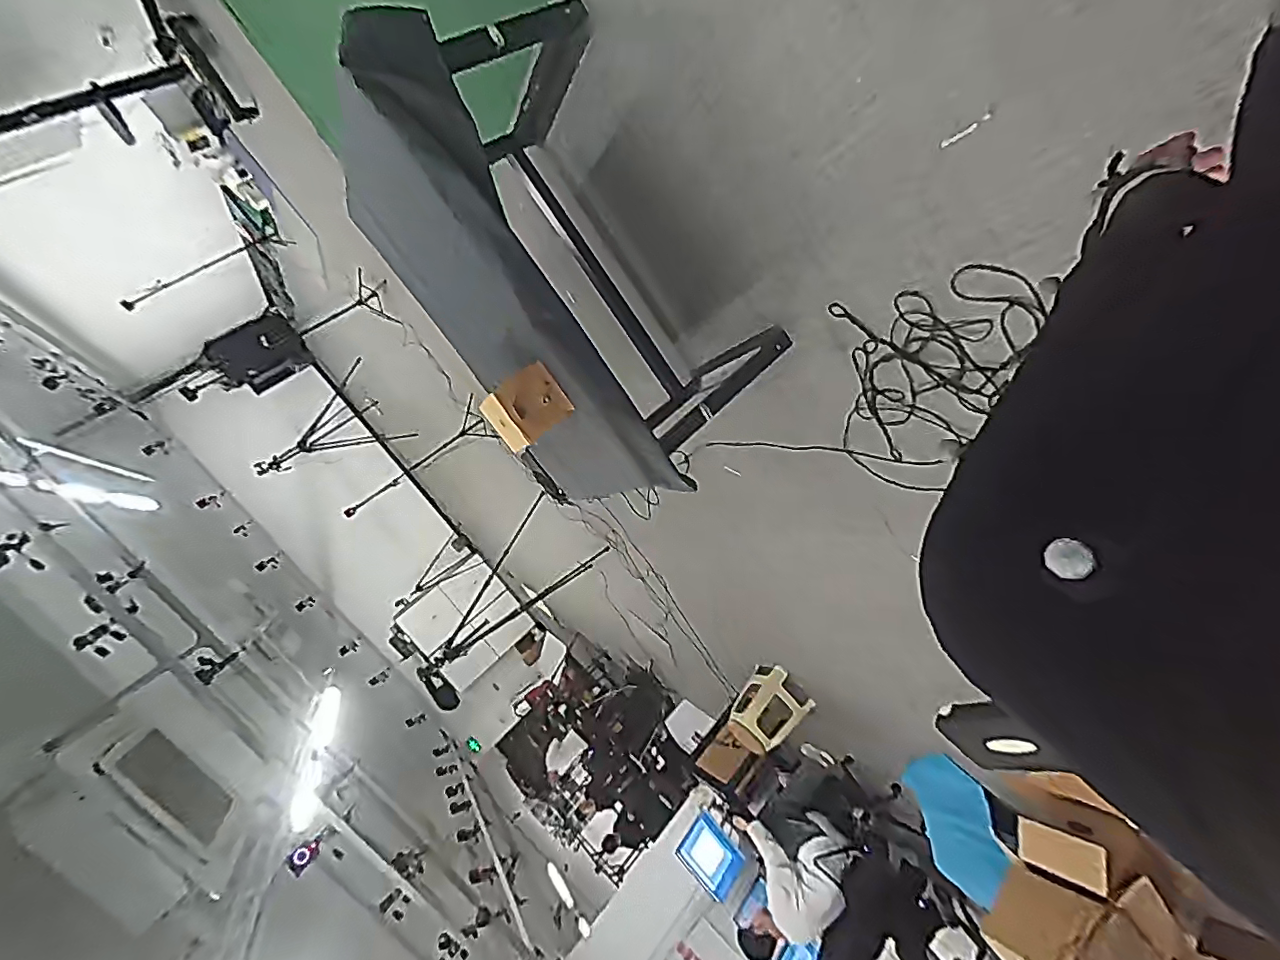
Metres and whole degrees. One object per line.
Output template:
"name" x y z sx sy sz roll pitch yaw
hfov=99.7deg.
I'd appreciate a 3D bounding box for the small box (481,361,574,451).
"small box" -0.310 -0.204 1.496 0.168 0.176 0.179 54 154 -12
